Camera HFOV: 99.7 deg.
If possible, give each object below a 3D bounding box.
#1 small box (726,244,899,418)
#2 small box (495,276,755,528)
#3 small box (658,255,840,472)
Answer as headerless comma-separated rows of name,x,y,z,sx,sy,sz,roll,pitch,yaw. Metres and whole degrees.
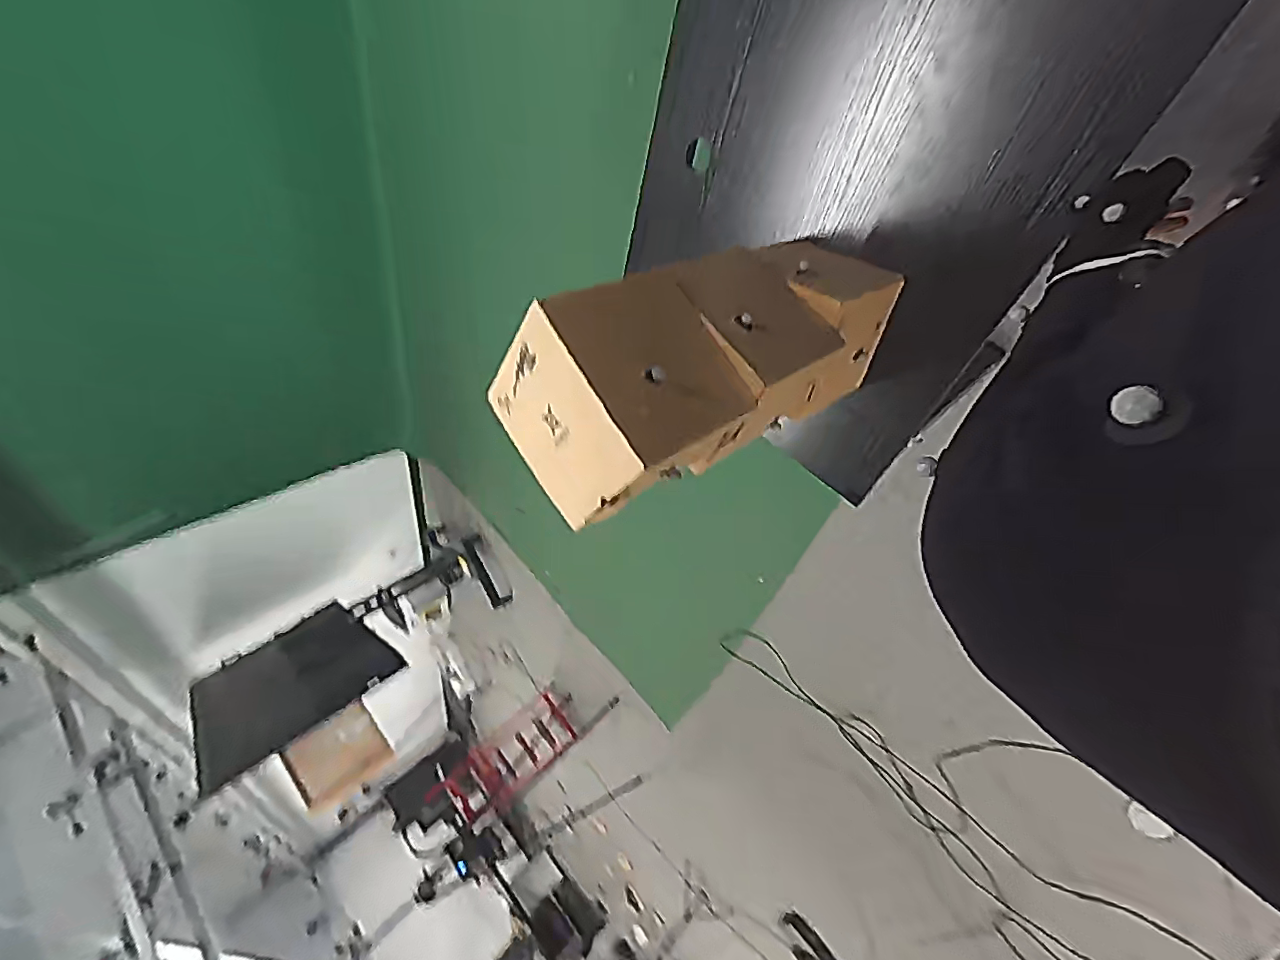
small box,0.219,-0.216,0.751,0.179,0.176,0.168,34,136,29
small box,-0.015,-0.082,0.562,0.179,0.176,0.168,55,142,4
small box,0.104,-0.147,0.655,0.179,0.176,0.168,50,142,13
